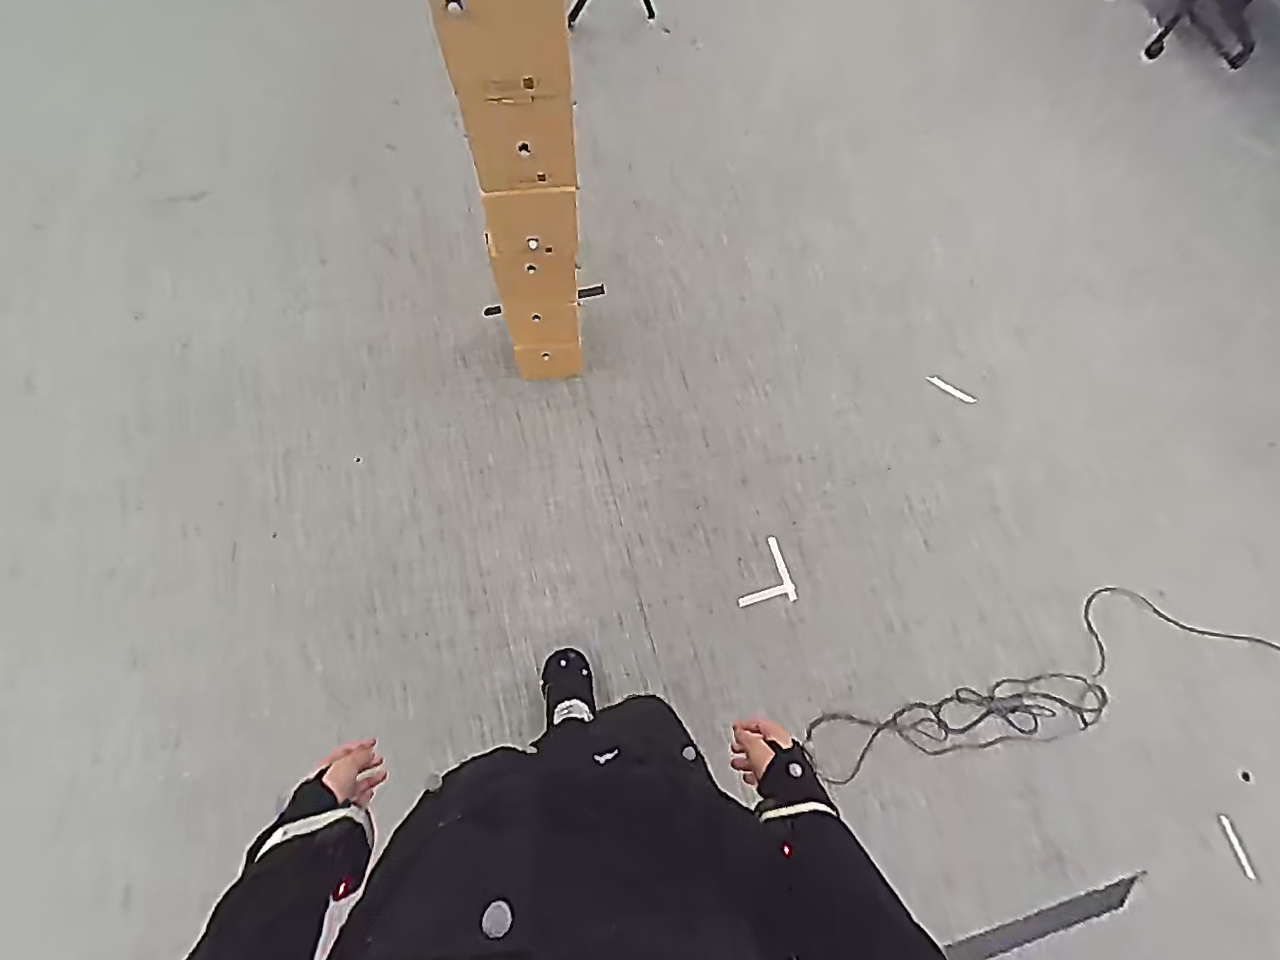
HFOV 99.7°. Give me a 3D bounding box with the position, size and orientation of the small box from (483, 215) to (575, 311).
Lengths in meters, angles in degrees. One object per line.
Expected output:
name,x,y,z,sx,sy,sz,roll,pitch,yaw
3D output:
small box,-0.238,-0.488,1.190,0.179,0.176,0.168,-6,74,-7

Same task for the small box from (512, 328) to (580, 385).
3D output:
small box,-0.259,-0.377,1.496,0.179,0.176,0.168,-6,74,-7

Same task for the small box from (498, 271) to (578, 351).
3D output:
small box,-0.249,-0.433,1.341,0.179,0.176,0.168,-3,74,-6

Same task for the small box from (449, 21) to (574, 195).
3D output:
small box,-0.201,-0.591,0.880,0.168,0.176,0.179,-8,75,-7

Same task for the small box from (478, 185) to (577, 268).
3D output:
small box,-0.212,-0.535,1.034,0.168,0.176,0.179,-6,75,-6
